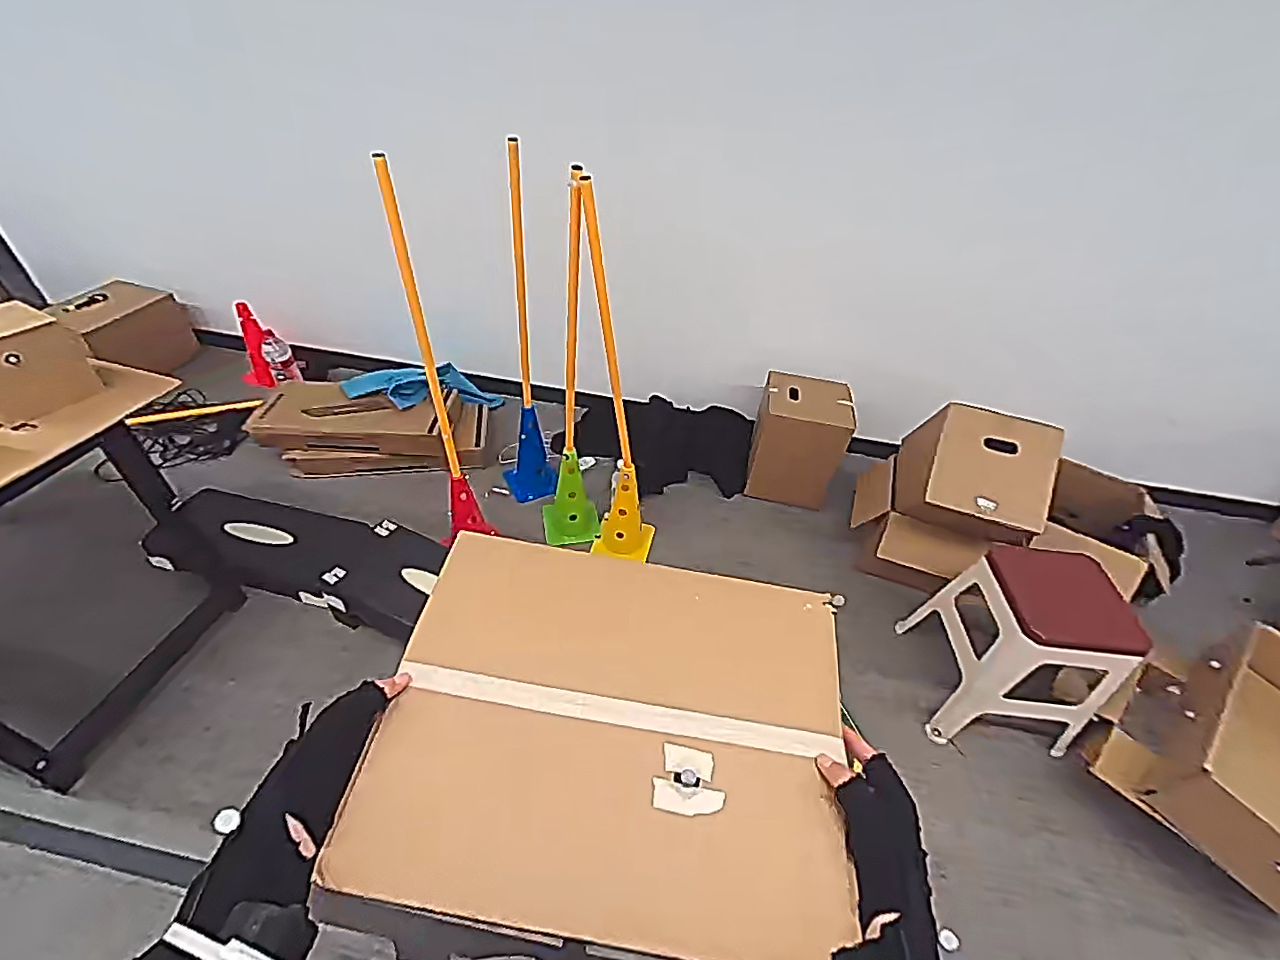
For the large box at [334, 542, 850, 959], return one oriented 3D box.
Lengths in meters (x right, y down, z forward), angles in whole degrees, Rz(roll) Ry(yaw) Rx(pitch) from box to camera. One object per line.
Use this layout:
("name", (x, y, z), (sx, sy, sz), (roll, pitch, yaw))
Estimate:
("large box", (-0.033, 0.307, 0.612), (0.408, 0.320, 0.320), (10, 52, 2))
